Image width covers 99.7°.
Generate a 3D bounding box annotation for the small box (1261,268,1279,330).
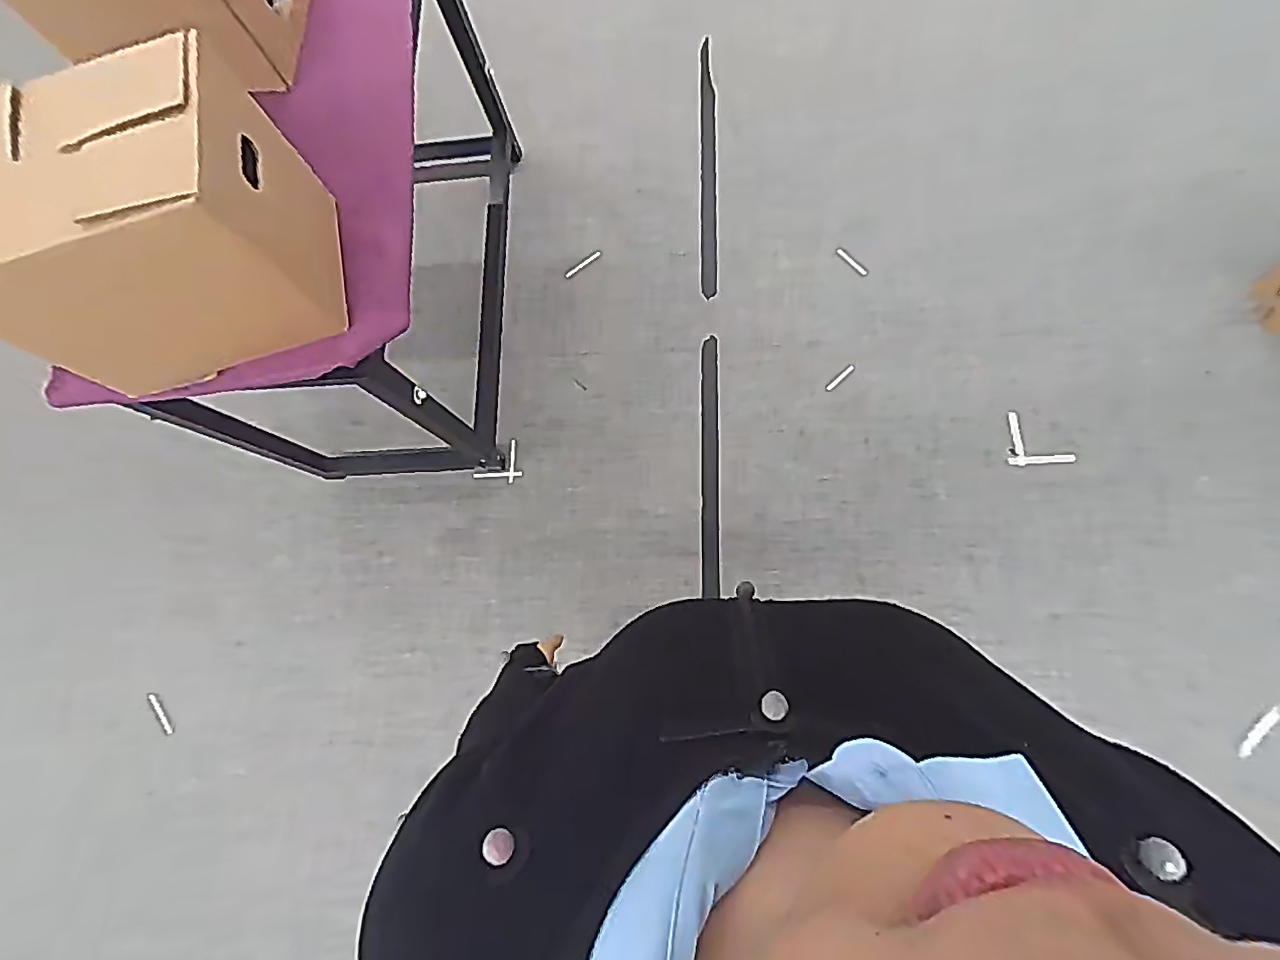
[{"bbox_3d":[1.843,-0.516,1.447,0.179,0.176,0.168,-3,76,5],"label":"small box"}]
